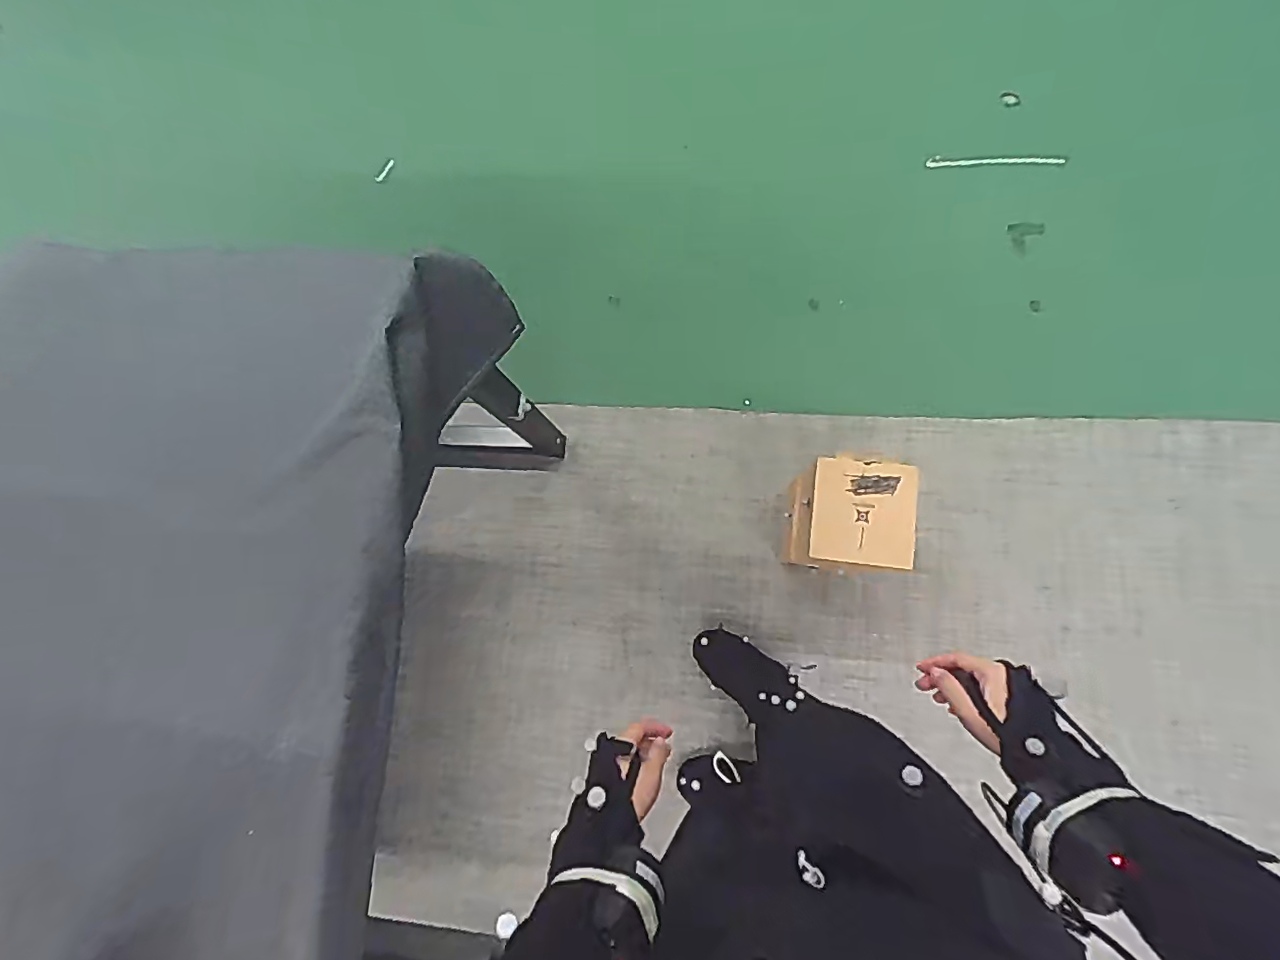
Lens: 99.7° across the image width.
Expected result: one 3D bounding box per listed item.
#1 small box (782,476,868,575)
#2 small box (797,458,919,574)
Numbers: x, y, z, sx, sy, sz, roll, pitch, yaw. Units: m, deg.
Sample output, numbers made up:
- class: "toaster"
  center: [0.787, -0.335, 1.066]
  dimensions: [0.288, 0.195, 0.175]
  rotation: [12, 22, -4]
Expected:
- class: "small box"
  center: [0.398, 0.101, 1.135]
  dimensions: [0.168, 0.176, 0.179]
  rotation: [7, 81, 9]
- class: "small box"
  center: [0.384, 0.071, 0.974]
  dimensions: [0.168, 0.176, 0.179]
  rotation: [6, 80, 10]
